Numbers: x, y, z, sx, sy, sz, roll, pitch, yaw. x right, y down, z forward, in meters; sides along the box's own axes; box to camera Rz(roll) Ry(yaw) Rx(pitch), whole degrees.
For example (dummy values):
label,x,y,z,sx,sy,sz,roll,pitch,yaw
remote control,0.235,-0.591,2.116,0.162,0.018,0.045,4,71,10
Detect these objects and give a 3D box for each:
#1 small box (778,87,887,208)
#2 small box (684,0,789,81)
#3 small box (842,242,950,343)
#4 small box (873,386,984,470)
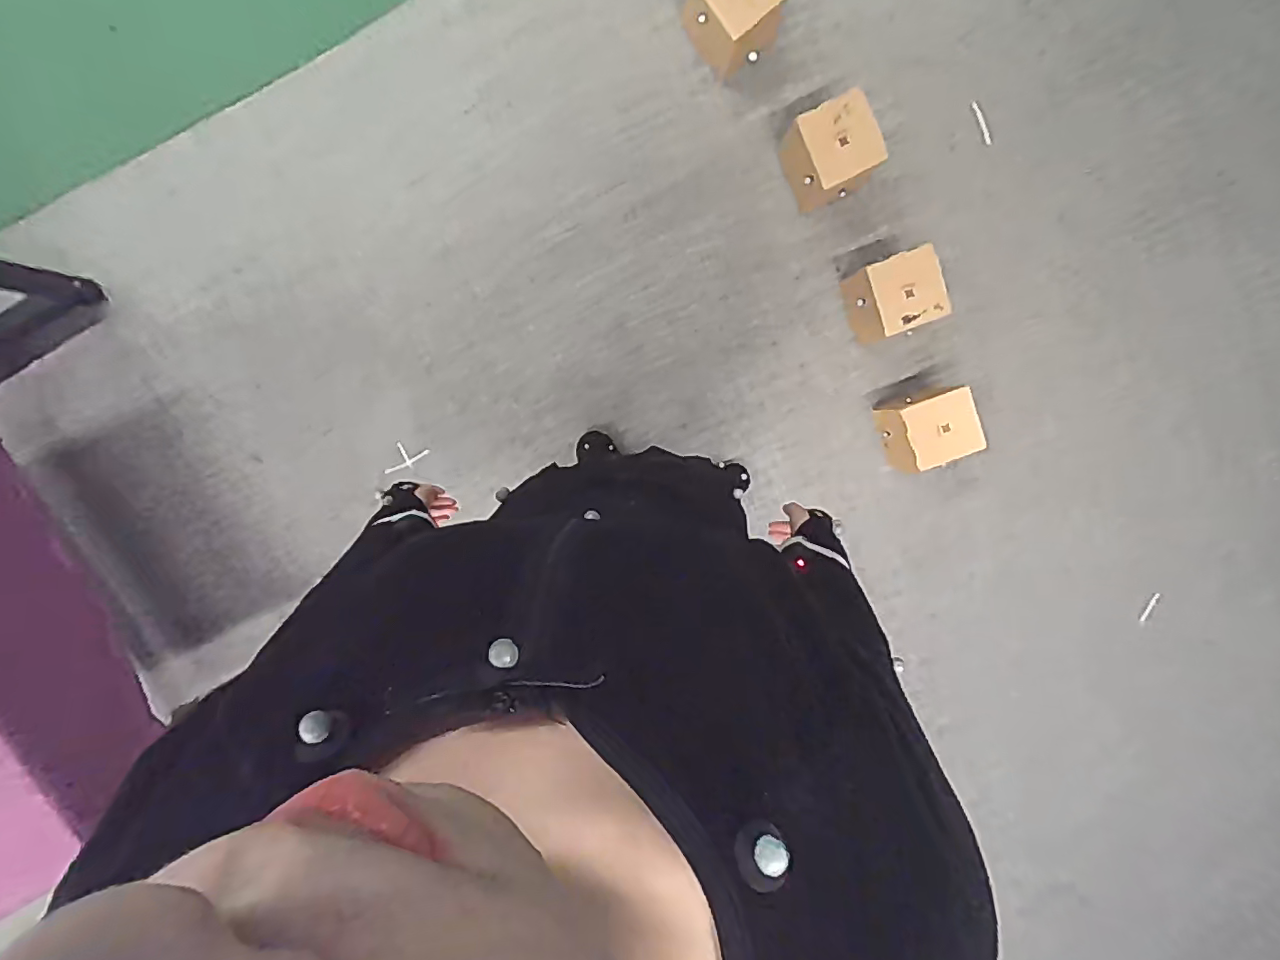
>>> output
label,x,y,z,sx,sy,sz,roll,pitch,yaw
small box,0.459,-0.790,1.314,0.168,0.176,0.179,-25,97,2
small box,0.219,-1.105,1.274,0.168,0.176,0.179,-38,97,4
small box,0.631,-0.460,1.356,0.168,0.176,0.179,-20,96,3
small box,0.738,-0.138,1.399,0.179,0.176,0.168,-20,97,3
